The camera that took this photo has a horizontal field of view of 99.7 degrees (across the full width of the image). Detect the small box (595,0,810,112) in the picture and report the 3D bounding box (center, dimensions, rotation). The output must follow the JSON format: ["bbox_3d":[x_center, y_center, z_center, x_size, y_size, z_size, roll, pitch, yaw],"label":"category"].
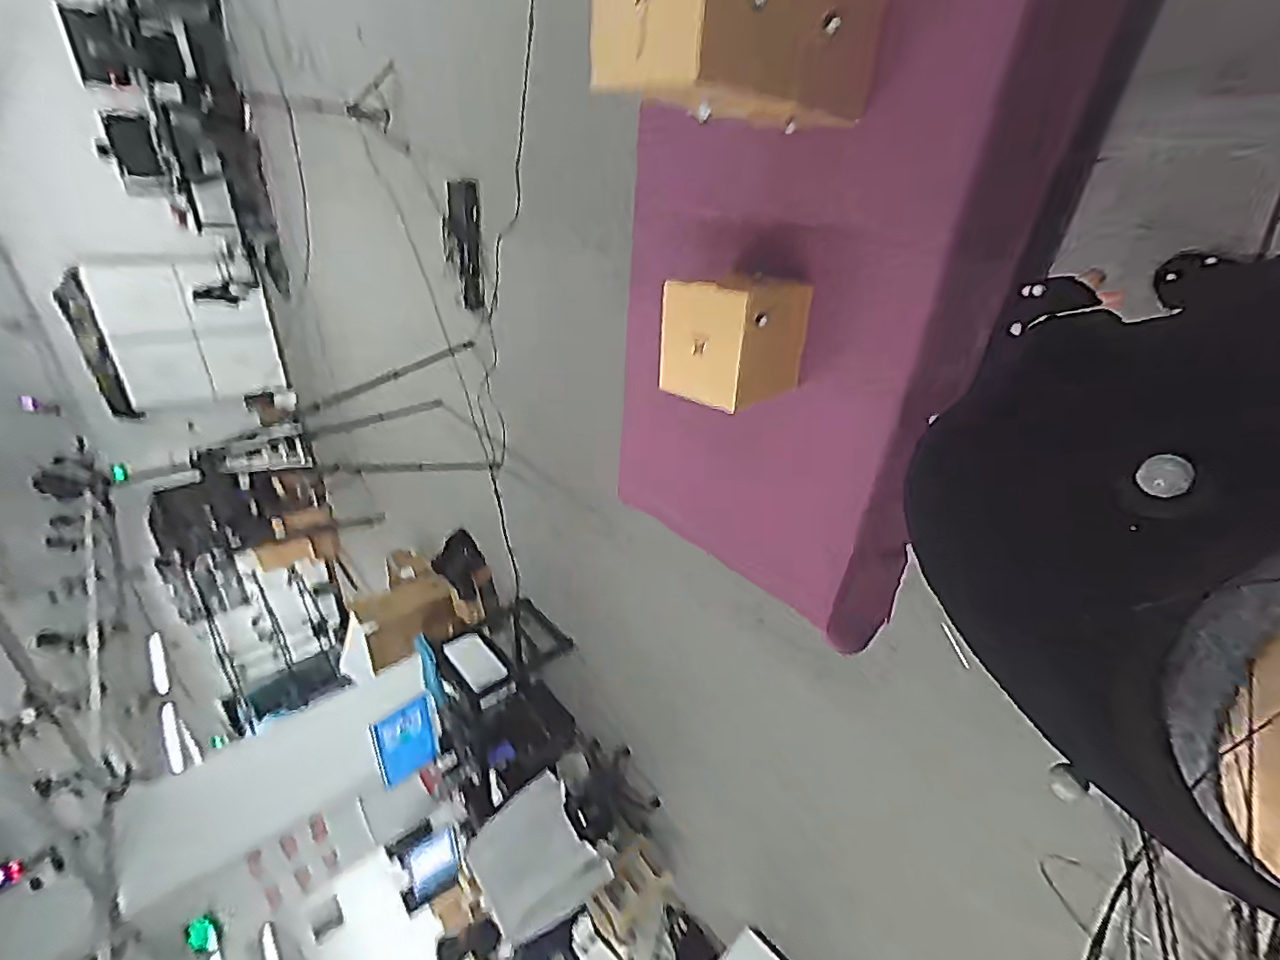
[{"bbox_3d":[0.070,-0.516,0.587,0.168,0.176,0.179,31,130,38],"label":"small box"}]

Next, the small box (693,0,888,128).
[{"bbox_3d":[0.190,-0.560,0.690,0.168,0.176,0.179,31,128,38],"label":"small box"}]

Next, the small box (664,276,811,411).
[{"bbox_3d":[0.158,-0.232,0.886,0.168,0.176,0.179,27,125,41],"label":"small box"}]
